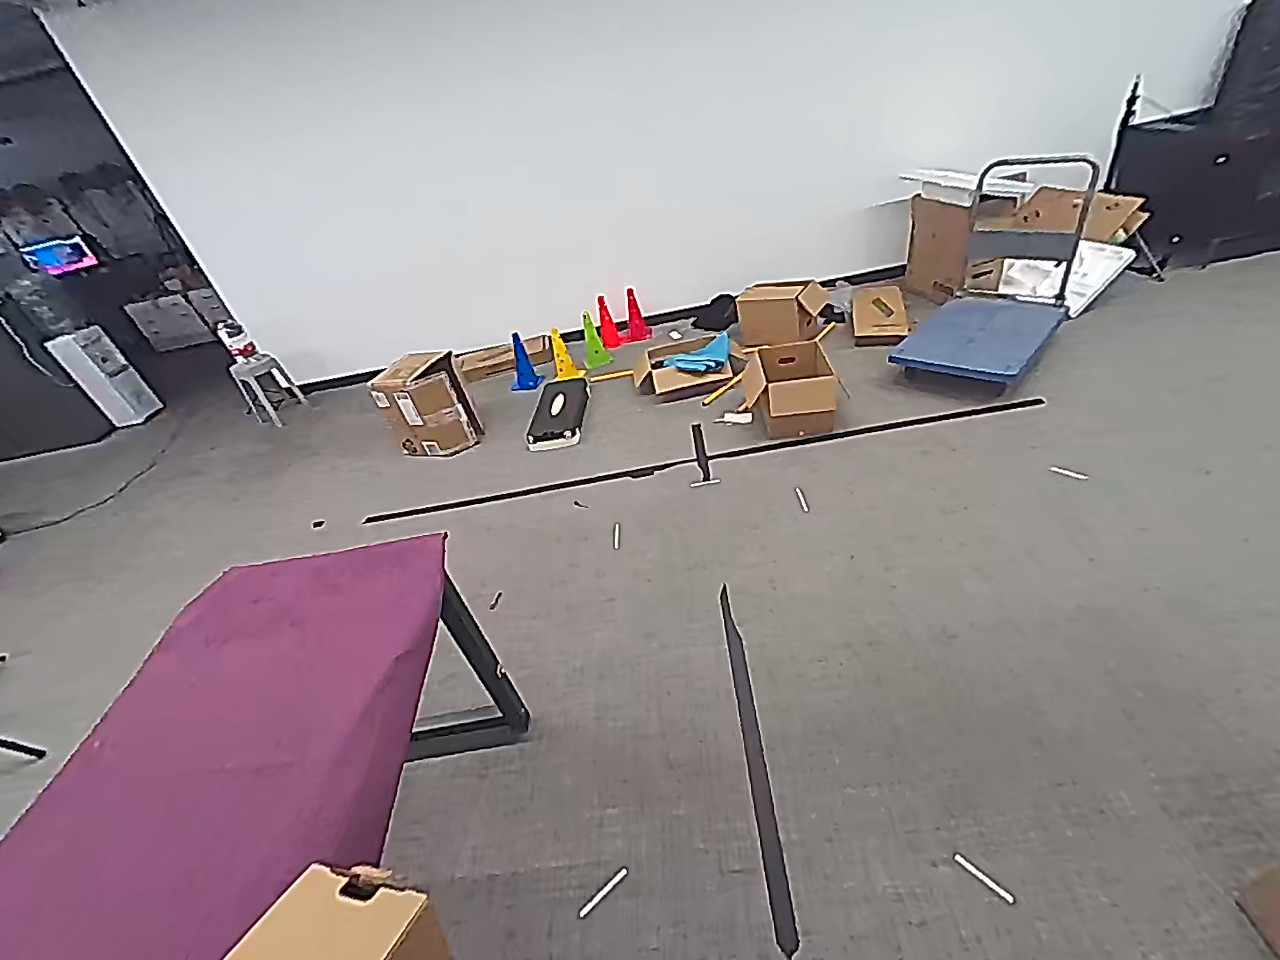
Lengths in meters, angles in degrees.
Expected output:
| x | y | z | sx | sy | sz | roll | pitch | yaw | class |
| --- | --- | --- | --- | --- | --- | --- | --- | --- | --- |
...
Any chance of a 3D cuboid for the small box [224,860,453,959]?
| x | y | z | sx | sy | sz | roll | pitch | yaw | class |
| --- | --- | --- | --- | --- | --- | --- | --- | --- | --- |
| -0.286 | 0.507 | 0.498 | 0.168 | 0.176 | 0.179 | -5 | 16 | 23 | small box |
